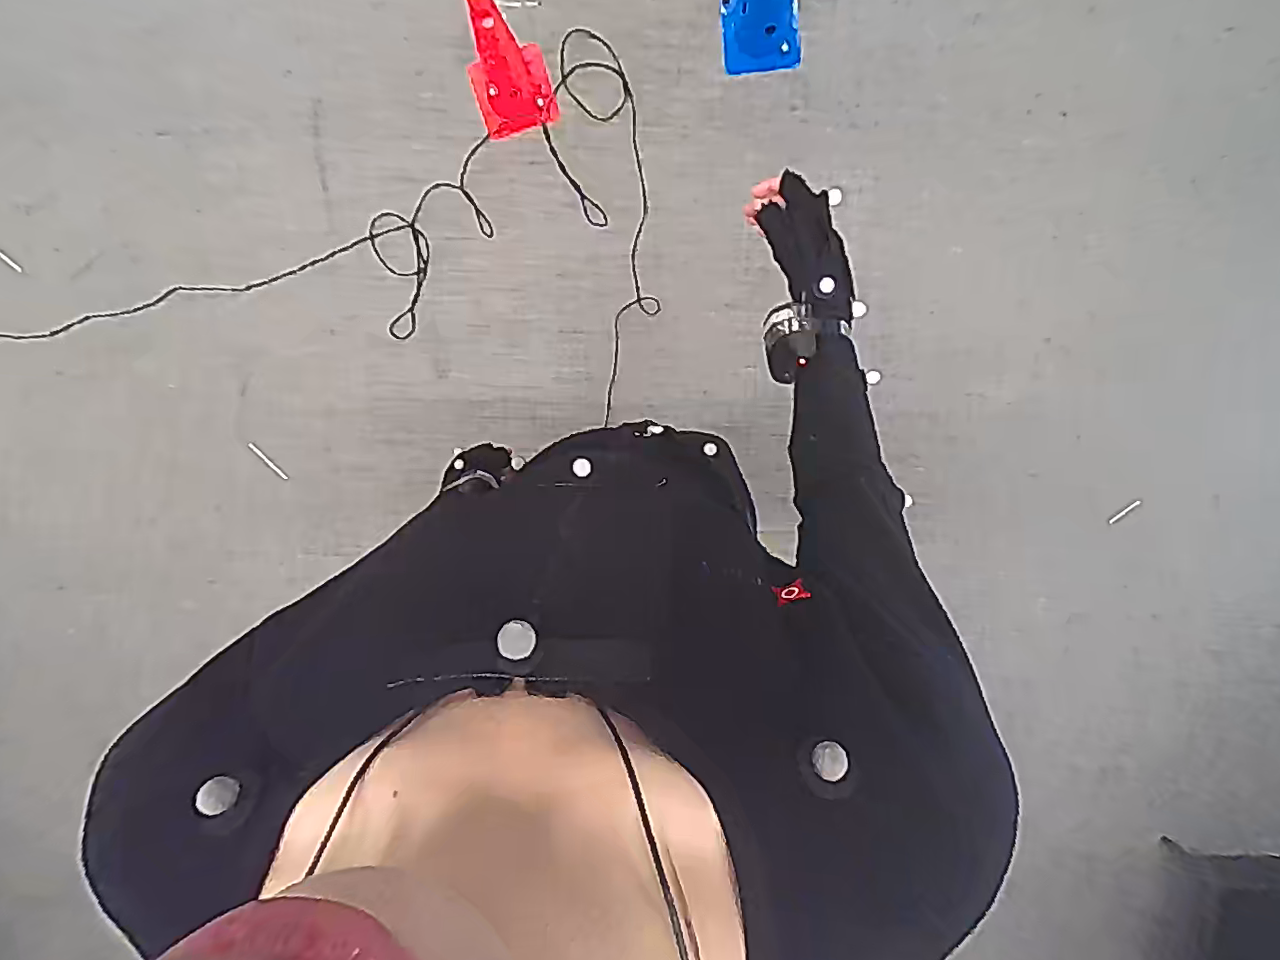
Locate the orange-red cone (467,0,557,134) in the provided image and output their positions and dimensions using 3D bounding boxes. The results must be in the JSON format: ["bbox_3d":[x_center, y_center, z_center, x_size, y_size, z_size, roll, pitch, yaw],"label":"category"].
[{"bbox_3d":[-0.333,-1.008,1.239,0.198,0.360,0.199,-17,93,1],"label":"orange-red cone"}]
